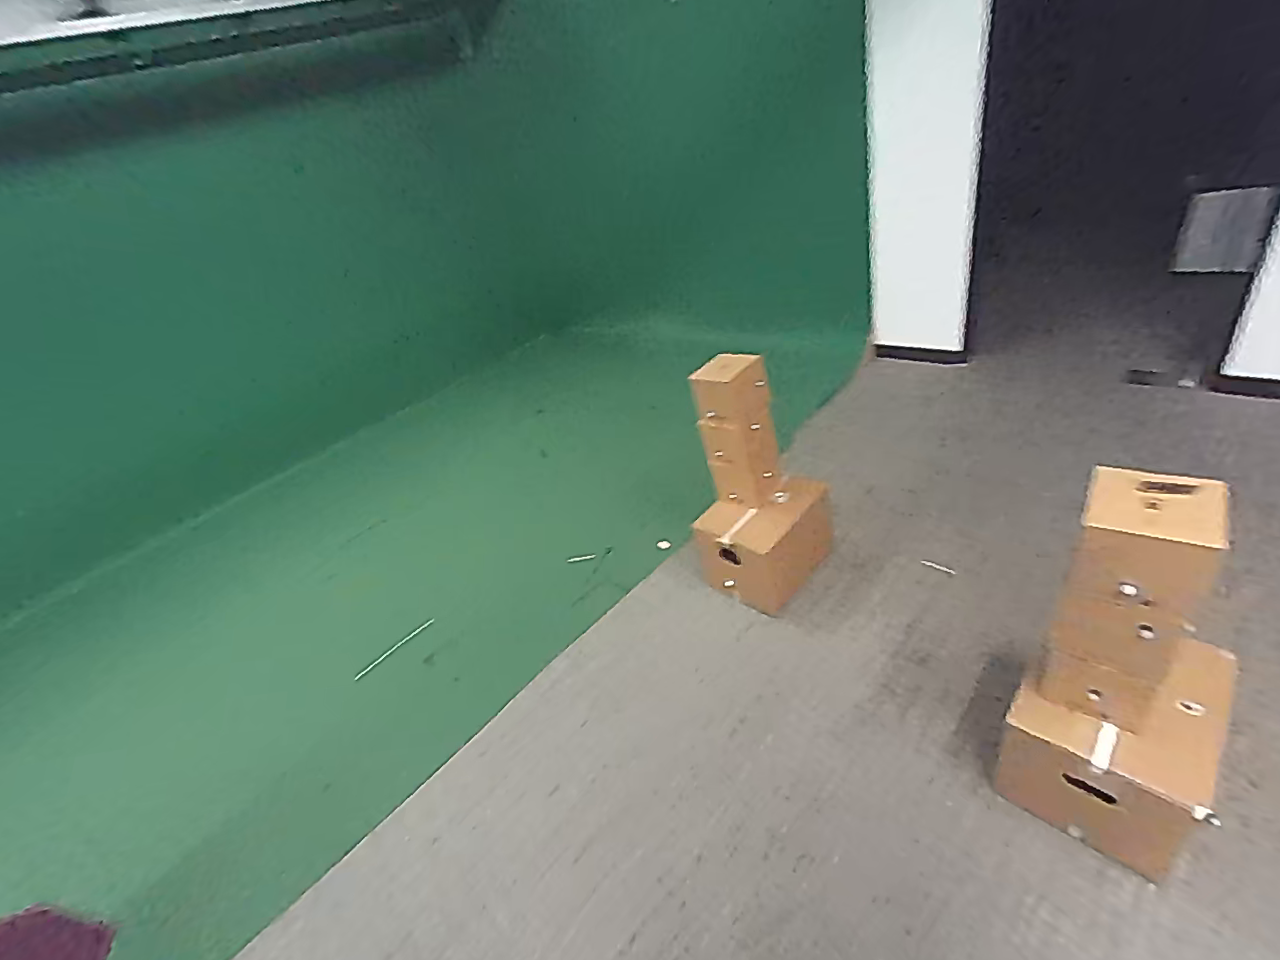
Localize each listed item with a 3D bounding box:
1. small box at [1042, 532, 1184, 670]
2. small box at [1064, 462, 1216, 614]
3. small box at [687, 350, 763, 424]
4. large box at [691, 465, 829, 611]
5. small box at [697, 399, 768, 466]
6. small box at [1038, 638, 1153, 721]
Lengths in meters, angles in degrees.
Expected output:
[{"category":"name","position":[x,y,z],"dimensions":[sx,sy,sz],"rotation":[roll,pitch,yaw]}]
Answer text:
[{"category":"small box","position":[0.898,0.229,1.028],"dimensions":[0.179,0.176,0.168],"rotation":[15,45,41]},{"category":"small box","position":[0.859,0.095,0.938],"dimensions":[0.168,0.176,0.179],"rotation":[12,45,39]},{"category":"small box","position":[0.284,-0.306,1.770],"dimensions":[0.179,0.176,0.168],"rotation":[-40,36,-27]},{"category":"large box","position":[0.451,0.202,1.996],"dimensions":[0.320,0.320,0.408],"rotation":[19,48,43]},{"category":"small box","position":[0.324,-0.173,1.856],"dimensions":[0.168,0.176,0.179],"rotation":[17,48,45]},{"category":"small box","position":[0.946,0.358,1.119],"dimensions":[0.168,0.176,0.179],"rotation":[15,47,41]}]
